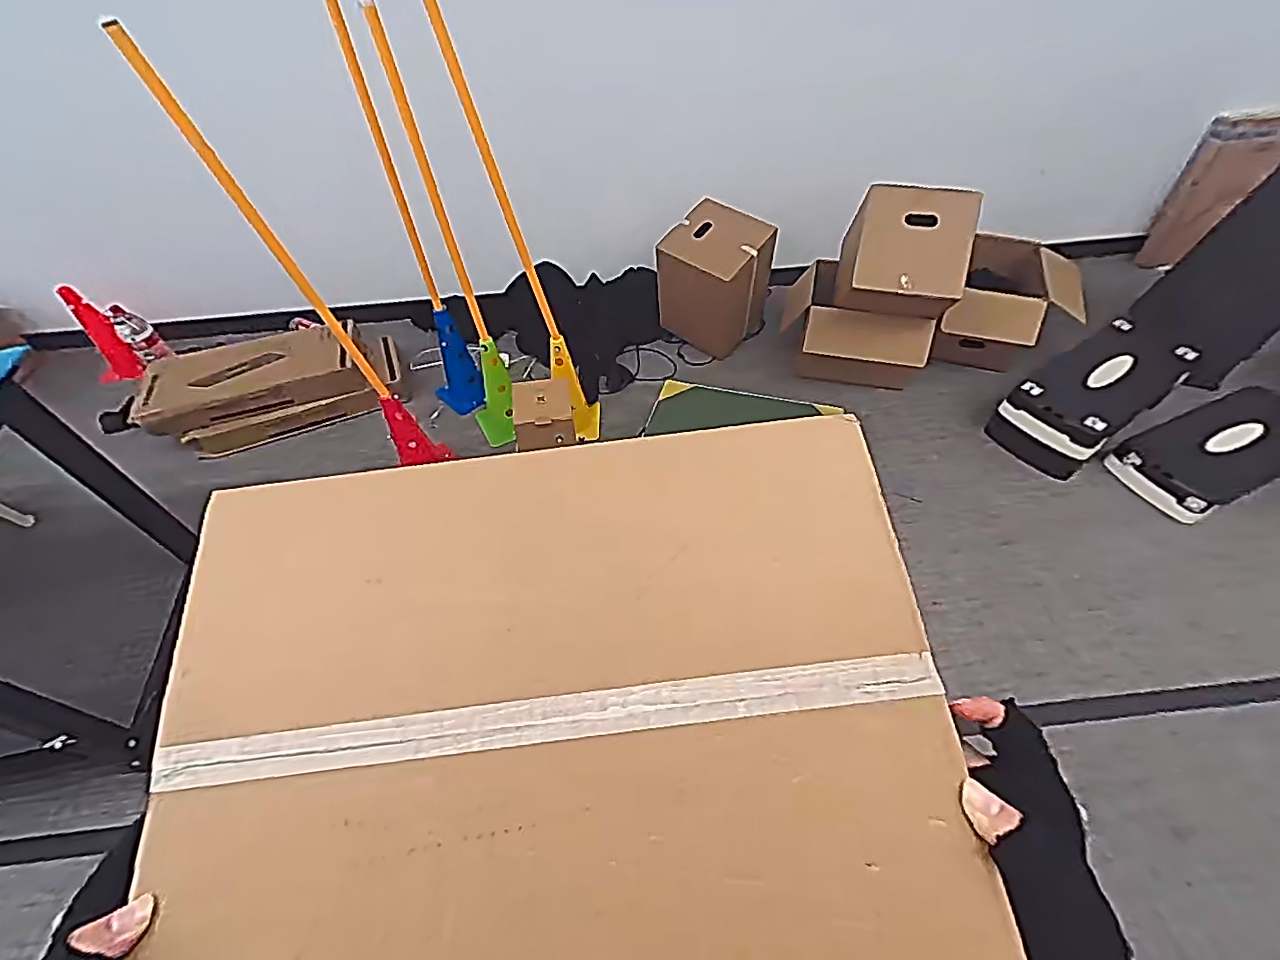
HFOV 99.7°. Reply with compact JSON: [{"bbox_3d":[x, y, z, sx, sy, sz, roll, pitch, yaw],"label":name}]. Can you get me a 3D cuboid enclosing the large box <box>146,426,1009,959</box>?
[{"bbox_3d":[-0.040,0.189,0.425,0.408,0.320,0.320,-7,68,0],"label":"large box"}]
